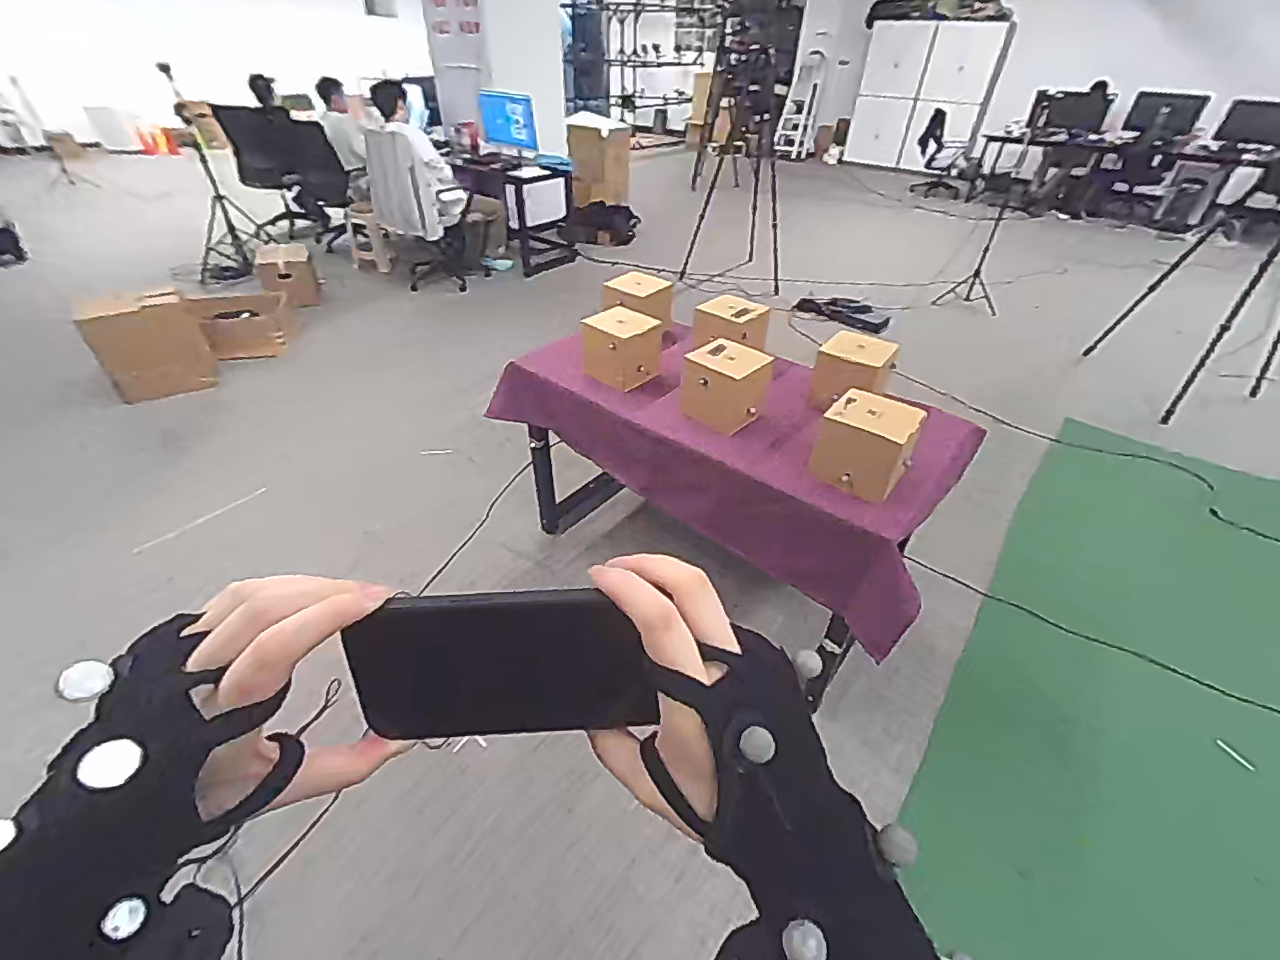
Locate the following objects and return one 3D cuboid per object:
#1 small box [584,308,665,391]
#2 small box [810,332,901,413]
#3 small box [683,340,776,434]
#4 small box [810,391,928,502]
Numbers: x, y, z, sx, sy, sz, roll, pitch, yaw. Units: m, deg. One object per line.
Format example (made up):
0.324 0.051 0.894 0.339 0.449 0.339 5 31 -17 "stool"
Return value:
-0.048 -0.386 1.599 0.179 0.176 0.168 31 47 30 "small box"
0.589 -0.283 1.494 0.168 0.176 0.179 26 45 28 "small box"
0.231 -0.246 1.434 0.179 0.176 0.168 32 48 31 "small box"
0.515 -0.073 1.230 0.179 0.176 0.168 28 45 29 "small box"
